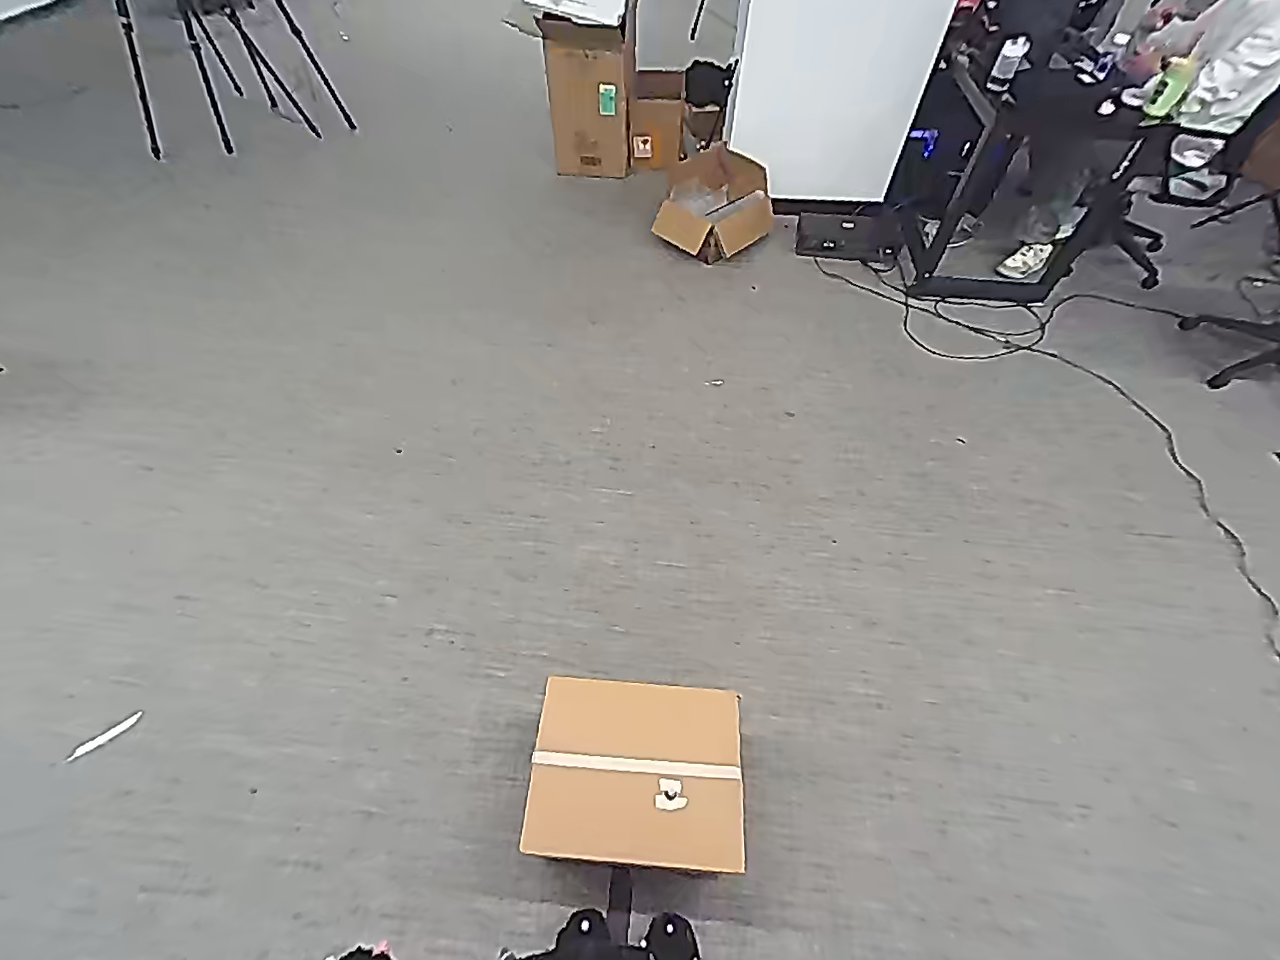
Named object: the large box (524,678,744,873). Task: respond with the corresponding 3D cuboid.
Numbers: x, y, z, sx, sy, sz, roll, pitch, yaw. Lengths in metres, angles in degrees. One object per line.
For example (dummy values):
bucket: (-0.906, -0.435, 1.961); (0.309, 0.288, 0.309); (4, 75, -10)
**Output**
large box: (-0.009, 0.643, 1.166); (0.408, 0.320, 0.320); (5, 54, 1)
